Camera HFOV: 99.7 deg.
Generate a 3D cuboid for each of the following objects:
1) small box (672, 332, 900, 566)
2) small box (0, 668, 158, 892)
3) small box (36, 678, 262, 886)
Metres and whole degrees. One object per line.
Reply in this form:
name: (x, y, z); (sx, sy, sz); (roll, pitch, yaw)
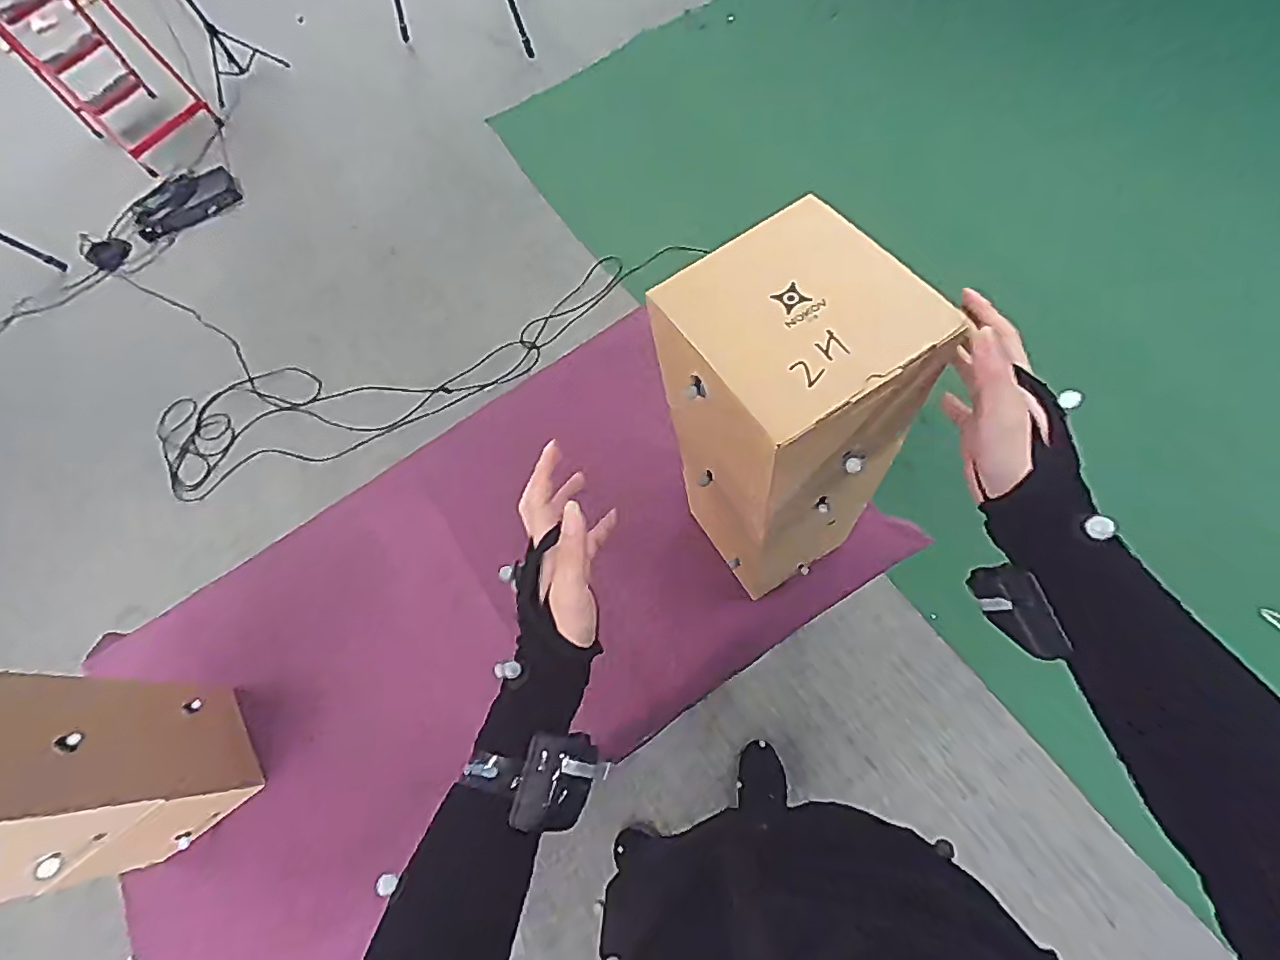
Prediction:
small box: (0.155, -0.027, 0.625); (0.168, 0.176, 0.179); (-31, 65, -3)
small box: (-0.703, 0.338, 0.604); (0.168, 0.176, 0.179); (-37, 67, -7)
small box: (-0.679, 0.404, 0.751); (0.168, 0.176, 0.179); (-37, 67, -7)
